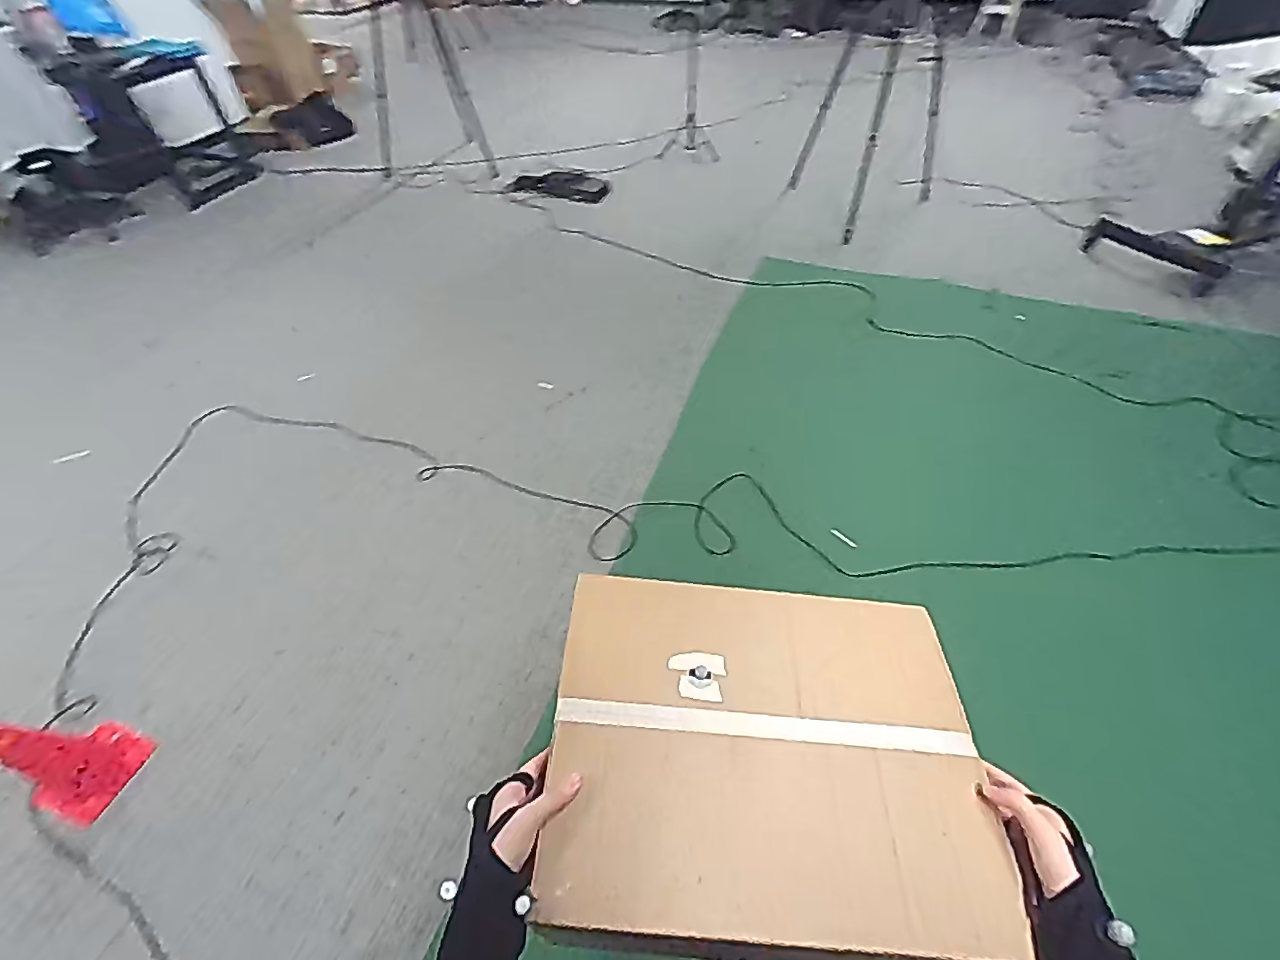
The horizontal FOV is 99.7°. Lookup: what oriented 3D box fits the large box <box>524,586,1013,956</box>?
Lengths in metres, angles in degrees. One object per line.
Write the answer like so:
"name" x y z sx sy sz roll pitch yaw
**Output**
"large box" 0.102 0.349 0.638 0.408 0.320 0.320 5 46 -1
